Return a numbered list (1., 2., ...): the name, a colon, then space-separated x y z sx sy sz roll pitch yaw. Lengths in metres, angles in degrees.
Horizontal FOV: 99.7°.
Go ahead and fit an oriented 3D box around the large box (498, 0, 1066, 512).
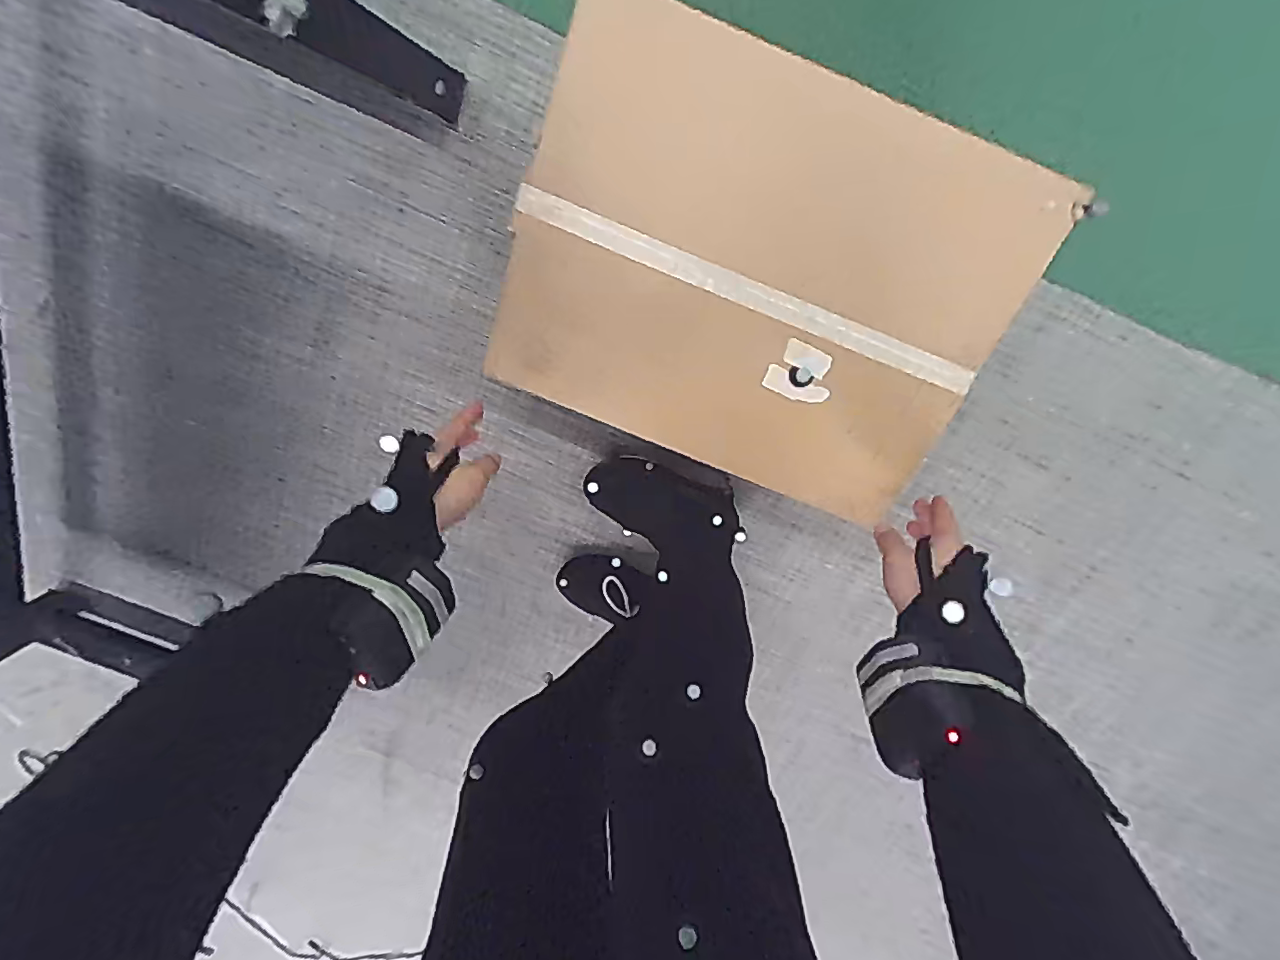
1. large box: 0.110 -0.219 0.604 0.408 0.320 0.320 21 113 -3
